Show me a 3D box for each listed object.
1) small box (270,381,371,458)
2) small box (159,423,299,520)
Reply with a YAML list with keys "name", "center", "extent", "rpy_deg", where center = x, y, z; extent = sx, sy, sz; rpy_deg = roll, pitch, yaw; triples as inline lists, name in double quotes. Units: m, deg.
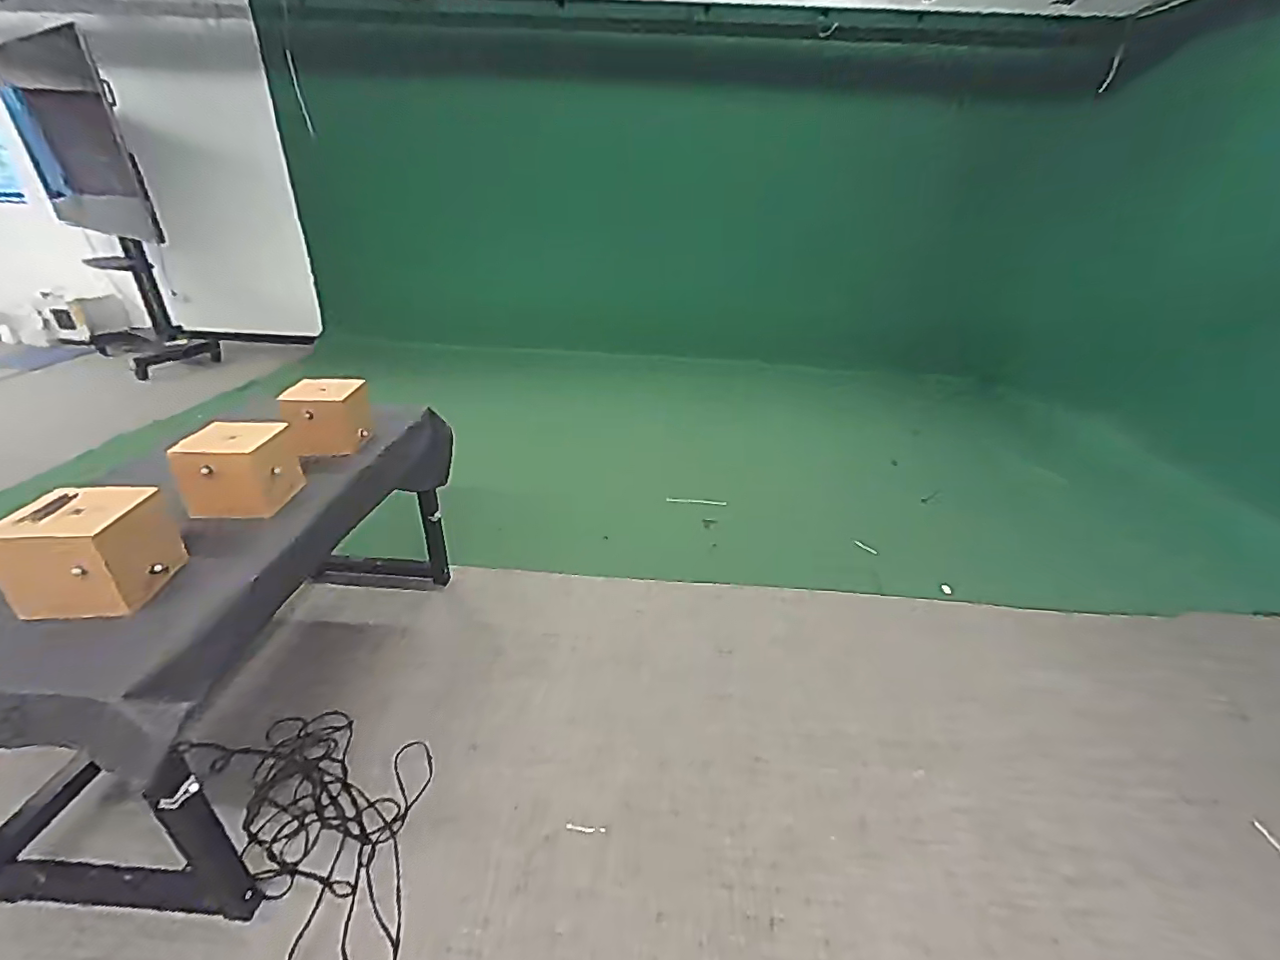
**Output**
- name: "small box"
  center: [-0.887, -0.170, 1.520]
  extent: [0.179, 0.176, 0.168]
  rpy_deg: [1, 29, -5]
- name: "small box"
  center: [-0.920, -0.018, 1.233]
  extent: [0.179, 0.176, 0.168]
  rpy_deg: [0, 28, -3]
